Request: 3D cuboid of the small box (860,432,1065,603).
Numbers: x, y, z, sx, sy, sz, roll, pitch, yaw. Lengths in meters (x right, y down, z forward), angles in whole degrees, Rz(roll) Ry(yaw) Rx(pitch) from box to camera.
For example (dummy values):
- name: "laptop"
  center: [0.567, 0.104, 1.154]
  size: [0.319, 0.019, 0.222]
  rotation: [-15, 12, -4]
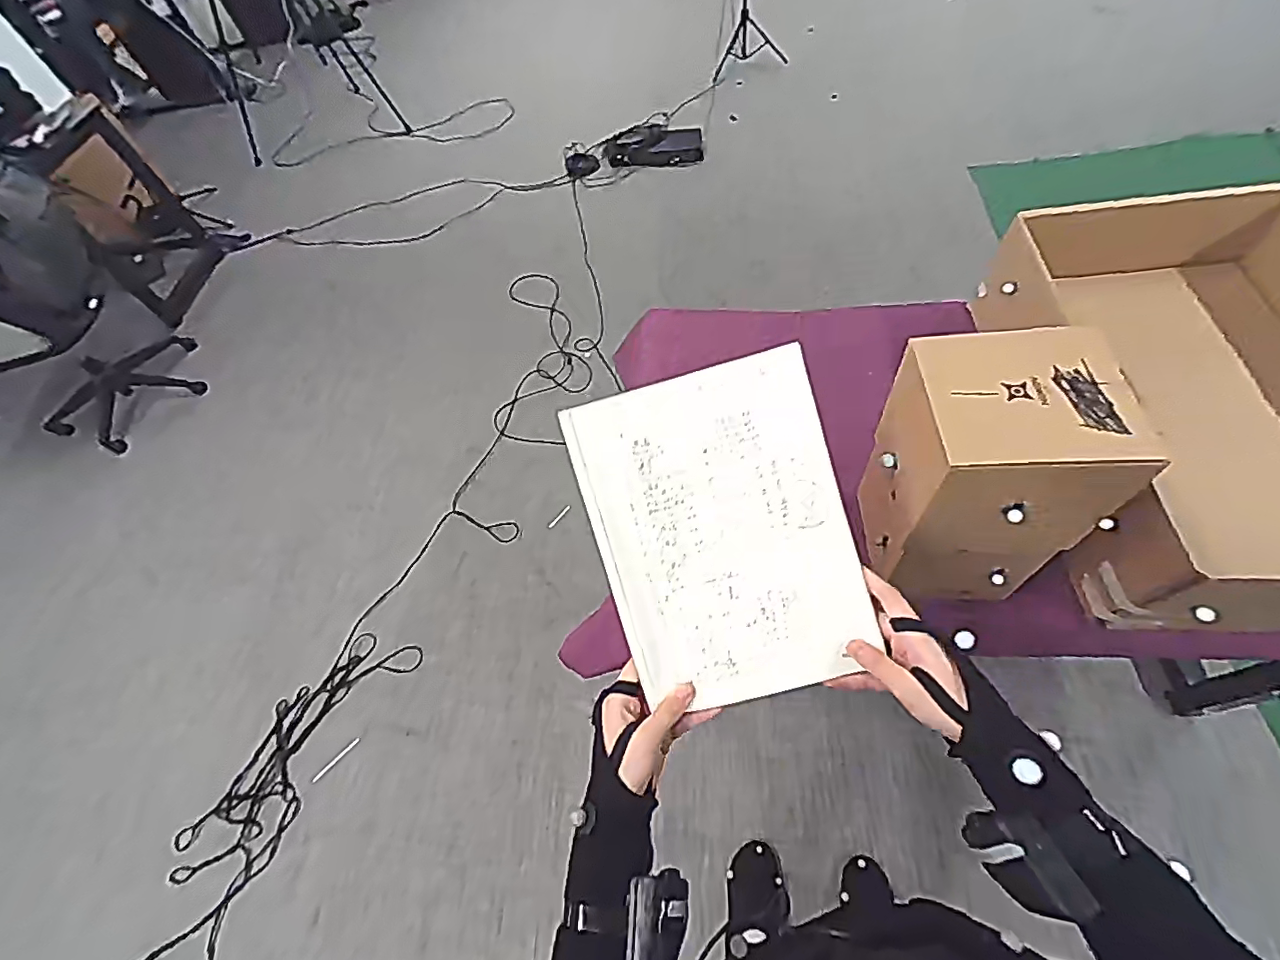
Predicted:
- name: "small box"
  center: [0.400, 0.052, 0.709]
  size: [0.168, 0.176, 0.179]
  rotation: [-1, 55, 9]

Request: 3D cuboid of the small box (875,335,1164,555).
- name: "small box"
  center: [0.369, -0.030, 0.570]
  size: [0.179, 0.176, 0.168]
  rotation: [-2, 55, 9]
